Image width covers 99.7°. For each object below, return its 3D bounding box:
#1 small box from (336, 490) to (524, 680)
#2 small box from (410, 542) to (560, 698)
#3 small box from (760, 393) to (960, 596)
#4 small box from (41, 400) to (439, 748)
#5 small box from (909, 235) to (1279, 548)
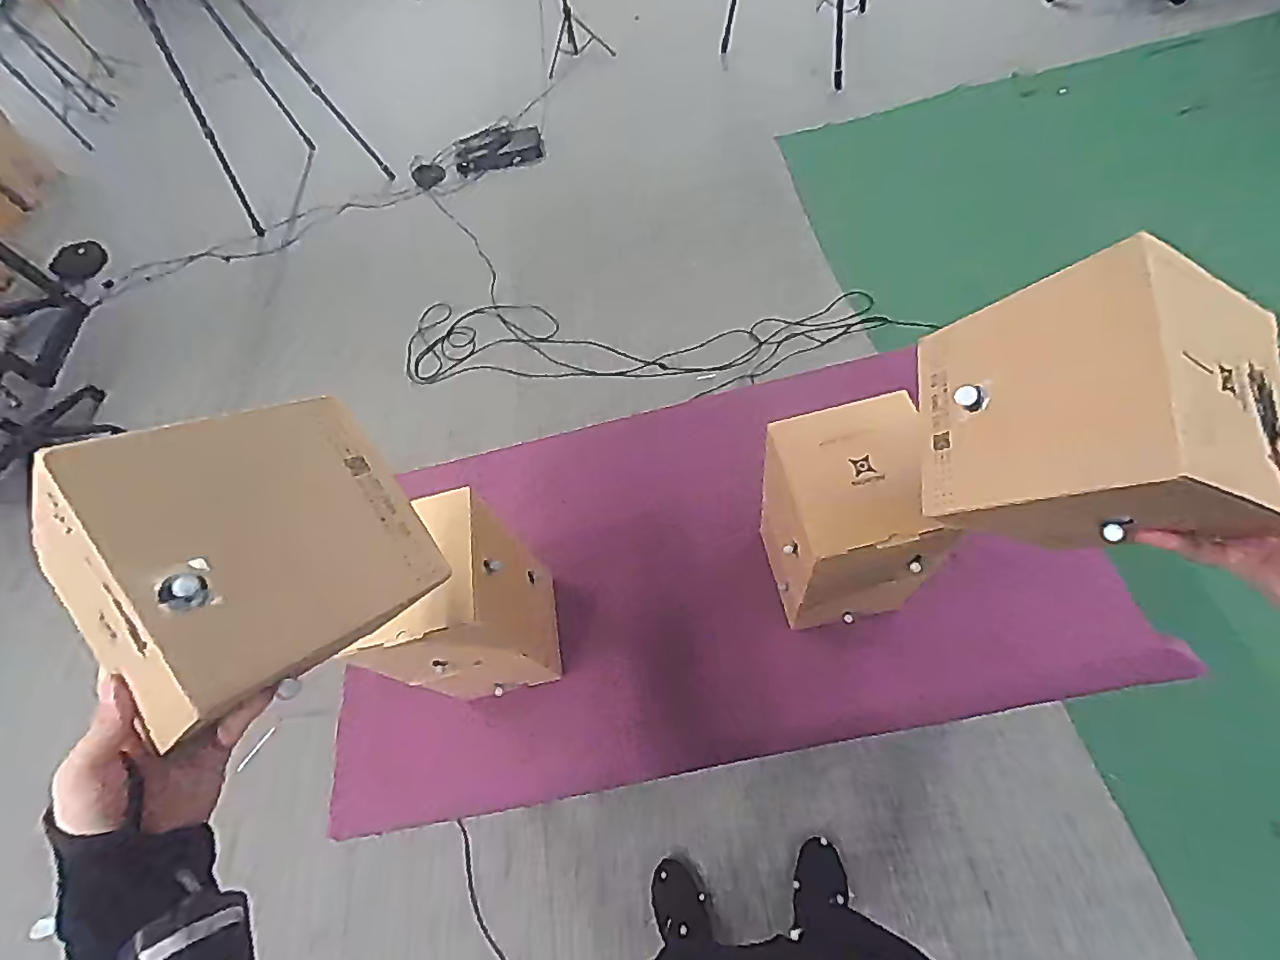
[{"bbox_3d":[-0.260,0.141,0.699,0.168,0.176,0.179,-14,59,3],"label":"small box"},{"bbox_3d":[-0.232,0.222,0.837,0.168,0.176,0.179,-14,59,4],"label":"small box"},{"bbox_3d":[0.251,0.029,0.656,0.168,0.176,0.179,-14,59,4],"label":"small box"},{"bbox_3d":[-0.282,0.063,0.400,0.176,0.179,0.168,-30,87,-51],"label":"small box"},{"bbox_3d":[0.343,-0.044,0.422,0.179,0.176,0.168,13,73,-21],"label":"small box"}]
